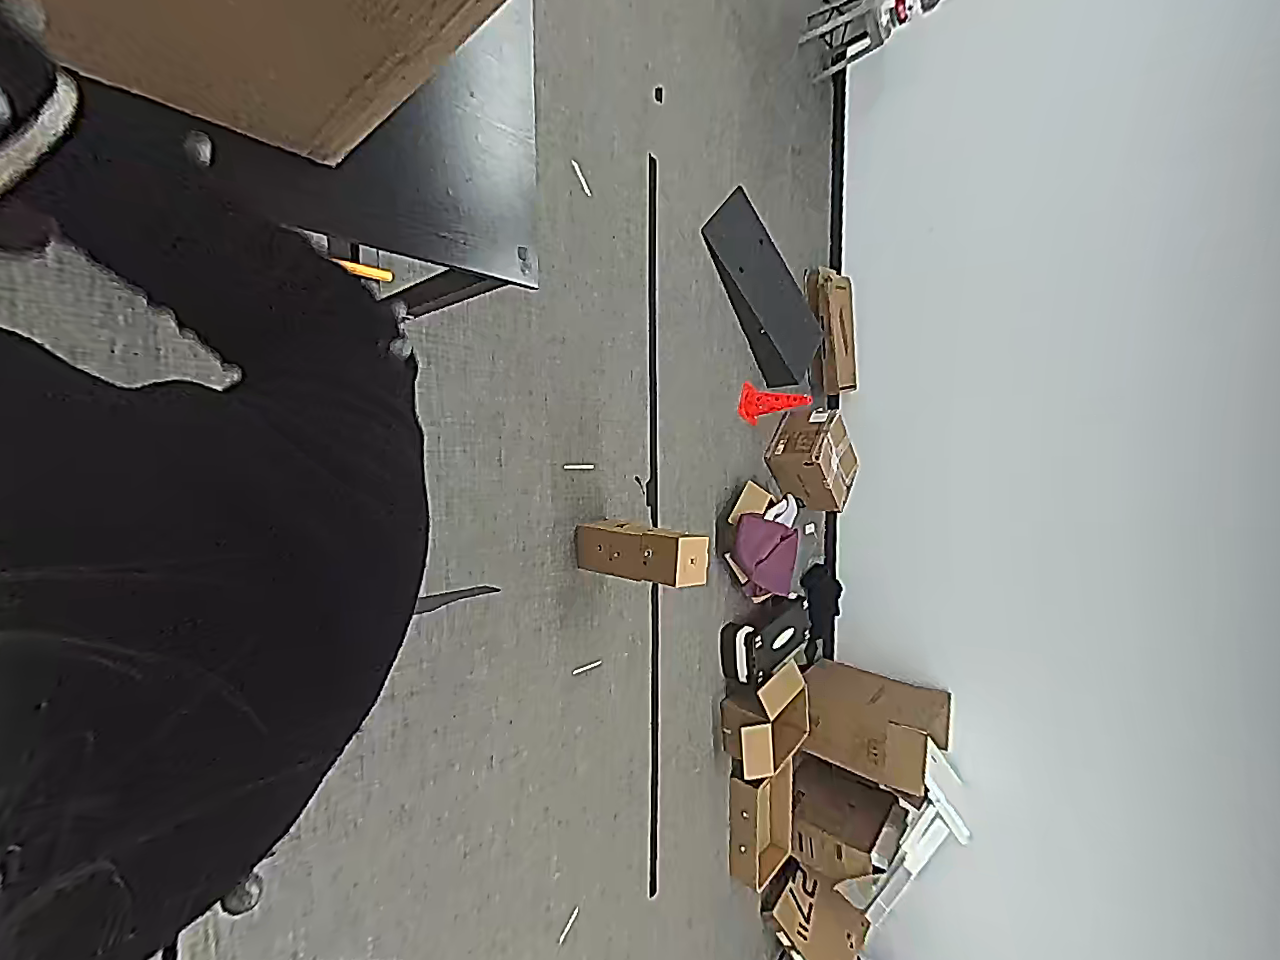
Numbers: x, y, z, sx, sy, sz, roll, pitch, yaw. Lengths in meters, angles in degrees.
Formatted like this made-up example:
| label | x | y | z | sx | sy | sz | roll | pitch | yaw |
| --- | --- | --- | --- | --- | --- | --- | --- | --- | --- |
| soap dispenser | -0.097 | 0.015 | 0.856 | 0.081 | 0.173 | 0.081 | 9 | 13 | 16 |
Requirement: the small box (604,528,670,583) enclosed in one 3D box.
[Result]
| label | x | y | z | sx | sy | sz | roll | pitch | yaw |
| --- | --- | --- | --- | --- | --- | --- | --- | --- | --- |
| small box | -0.010 | 0.269 | 1.975 | 0.179 | 0.176 | 0.168 | -3 | 94 | -48 |

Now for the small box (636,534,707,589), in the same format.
| label | x | y | z | sx | sy | sz | roll | pitch | yaw |
| --- | --- | --- | --- | --- | --- | --- | --- | --- | --- |
| small box | 0.108 | 0.275 | 1.863 | 0.179 | 0.176 | 0.168 | 5 | 88 | -48 |

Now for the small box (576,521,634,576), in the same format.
| label | x | y | z | sx | sy | sz | roll | pitch | yaw |
| --- | --- | --- | --- | --- | --- | --- | --- | --- | --- |
| small box | -0.134 | 0.258 | 2.082 | 0.168 | 0.176 | 0.179 | -9 | 99 | -48 |
